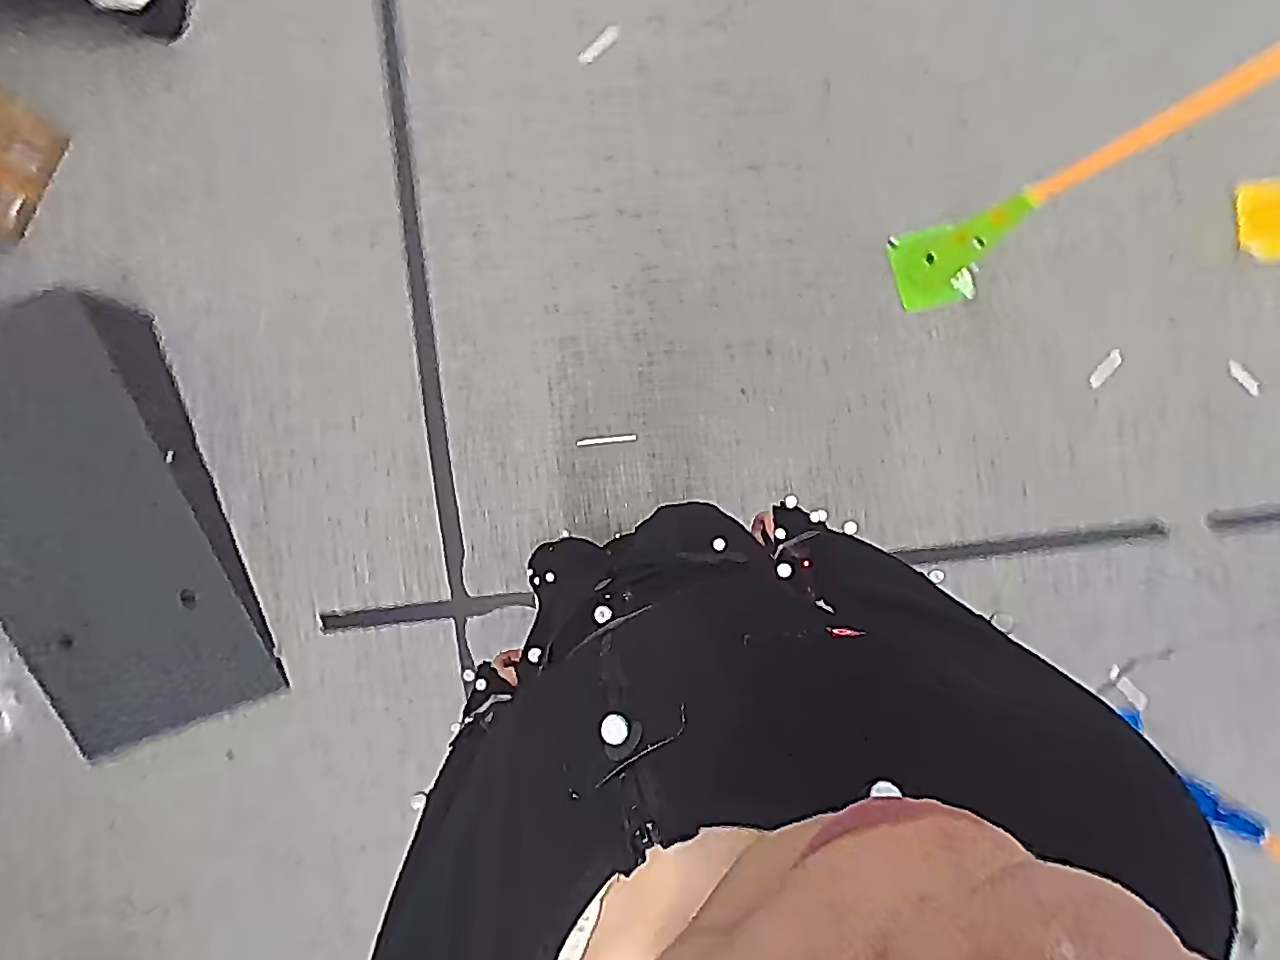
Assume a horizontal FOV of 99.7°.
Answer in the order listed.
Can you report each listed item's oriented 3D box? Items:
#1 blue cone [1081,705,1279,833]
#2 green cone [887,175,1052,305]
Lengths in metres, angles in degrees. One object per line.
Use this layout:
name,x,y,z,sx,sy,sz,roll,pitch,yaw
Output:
blue cone,1.271,0.698,1.269,0.192,0.380,0.193,-4,90,-4
green cone,0.772,-0.572,1.240,0.202,0.368,0.200,-18,91,-5
